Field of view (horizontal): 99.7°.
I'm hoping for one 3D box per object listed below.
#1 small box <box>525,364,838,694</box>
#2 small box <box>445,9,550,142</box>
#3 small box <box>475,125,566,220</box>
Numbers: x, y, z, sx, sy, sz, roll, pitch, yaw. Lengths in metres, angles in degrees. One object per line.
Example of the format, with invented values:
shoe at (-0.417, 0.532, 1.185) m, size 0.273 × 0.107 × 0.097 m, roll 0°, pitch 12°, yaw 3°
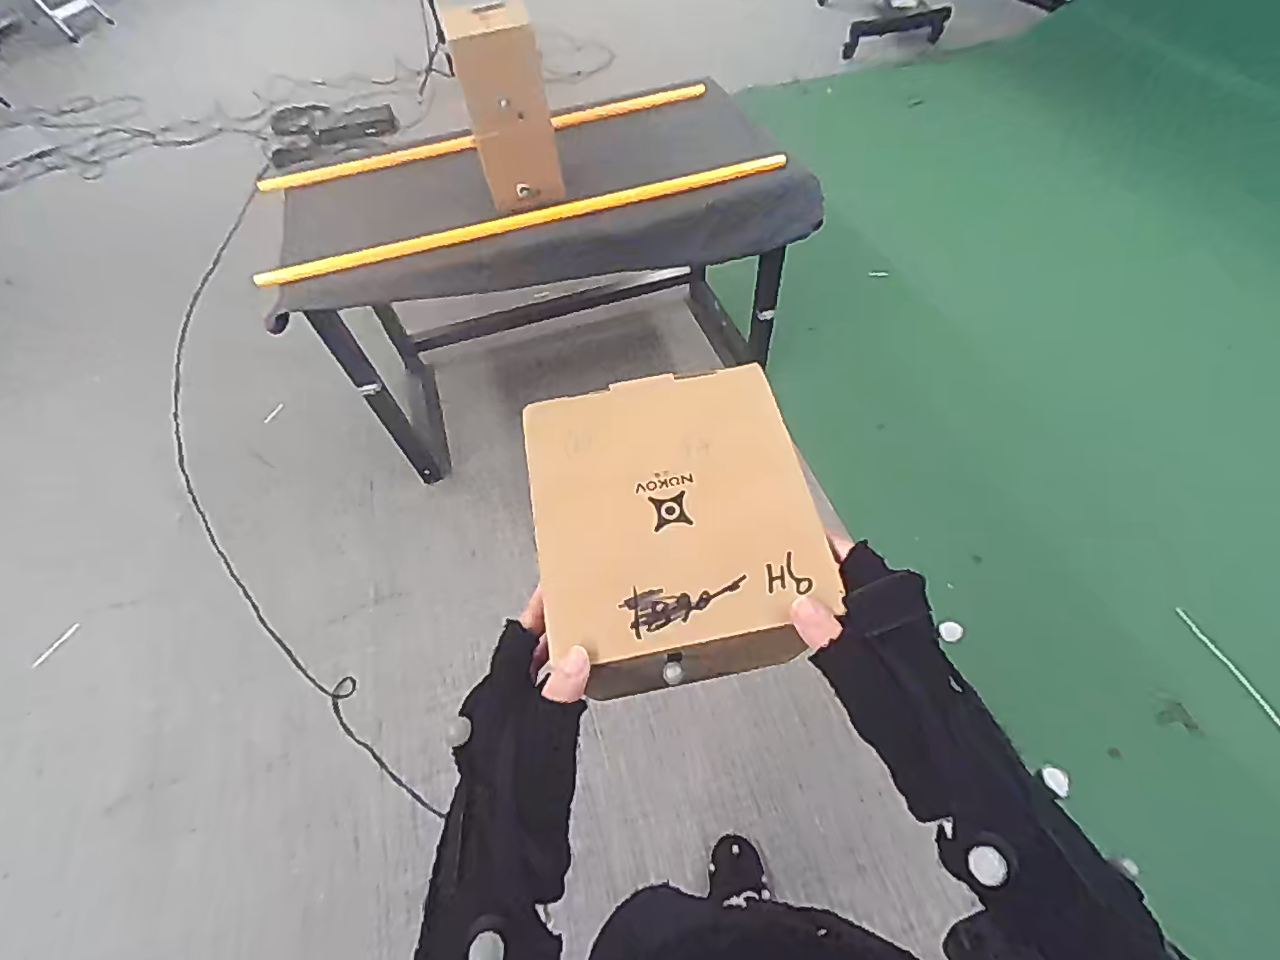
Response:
small box at (0.020, 0.045, 0.404) m, size 0.168 × 0.176 × 0.179 m, roll -12°, pitch 62°, yaw -2°
small box at (-0.294, -0.839, 1.127) m, size 0.168 × 0.176 × 0.179 m, roll -15°, pitch 56°, yaw -4°
small box at (-0.281, -0.742, 1.260) m, size 0.168 × 0.176 × 0.179 m, roll -18°, pitch 57°, yaw -7°
